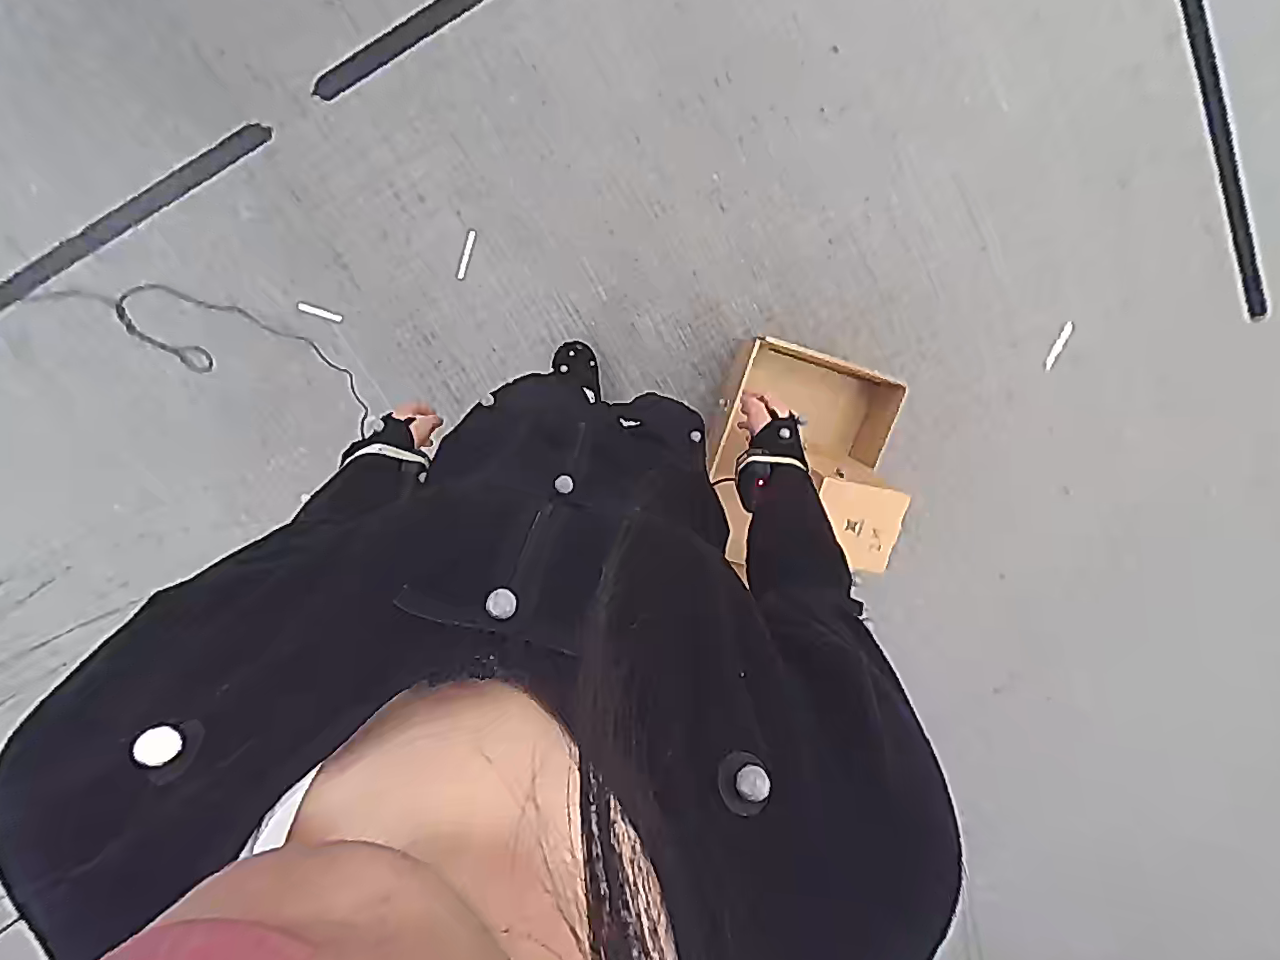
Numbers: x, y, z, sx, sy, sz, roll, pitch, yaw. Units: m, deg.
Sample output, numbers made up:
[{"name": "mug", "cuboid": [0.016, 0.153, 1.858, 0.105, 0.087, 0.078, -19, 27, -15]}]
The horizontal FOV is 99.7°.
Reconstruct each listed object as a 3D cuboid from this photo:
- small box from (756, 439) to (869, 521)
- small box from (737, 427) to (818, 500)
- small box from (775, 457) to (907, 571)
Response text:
[{"name": "small box", "cuboid": [0.386, 0.010, 1.249, 0.179, 0.176, 0.168, 11, 106, -7]}, {"name": "small box", "cuboid": [0.374, -0.031, 1.406, 0.179, 0.176, 0.168, 16, 104, -7]}, {"name": "small box", "cuboid": [0.392, 0.061, 1.091, 0.179, 0.176, 0.168, 11, 107, -6]}]
